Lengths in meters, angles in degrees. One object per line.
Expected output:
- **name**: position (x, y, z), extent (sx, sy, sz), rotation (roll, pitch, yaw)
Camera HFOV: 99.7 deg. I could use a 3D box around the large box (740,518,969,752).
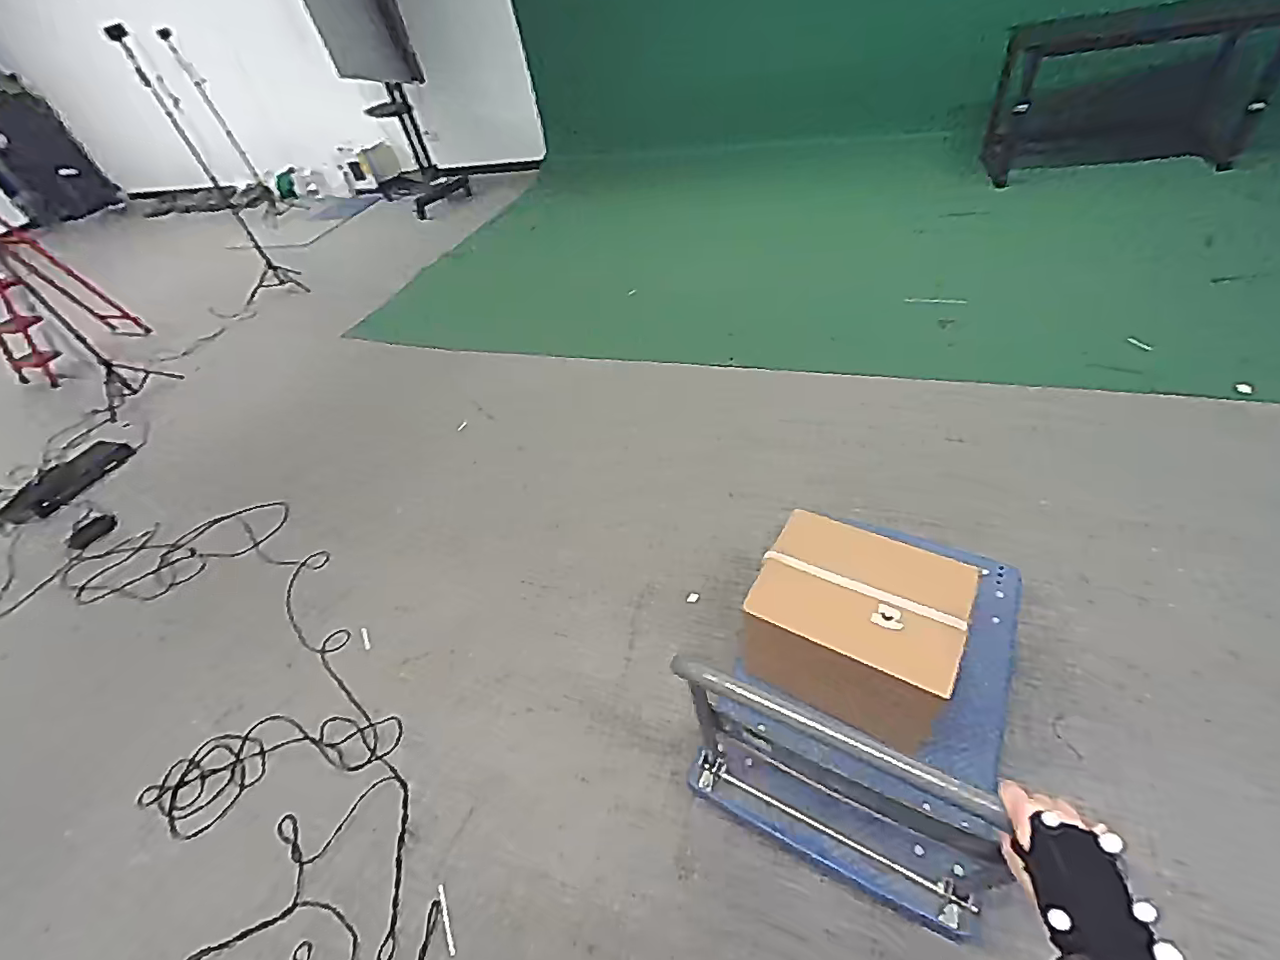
- **large box**: position (0.475, 0.349, 1.260), extent (0.408, 0.320, 0.320), rotation (19, 53, 27)
